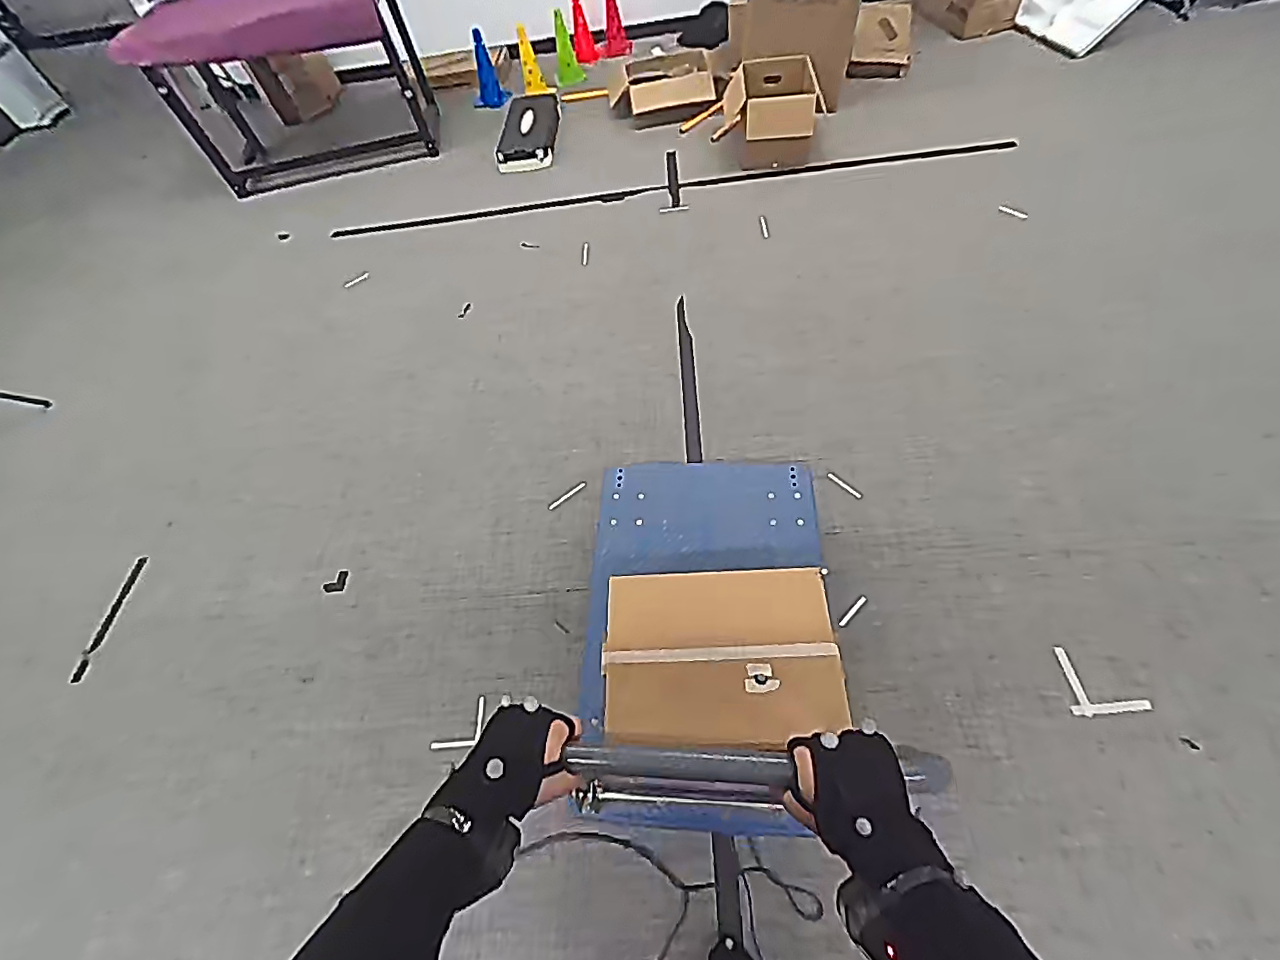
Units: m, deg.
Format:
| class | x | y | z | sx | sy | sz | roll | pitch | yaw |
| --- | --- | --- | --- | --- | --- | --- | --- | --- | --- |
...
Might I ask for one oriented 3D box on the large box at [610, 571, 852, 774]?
| class | x | y | z | sx | sy | sz | roll | pitch | yaw |
| --- | --- | --- | --- | --- | --- | --- | --- | --- | --- |
| large box | 0.157 | 0.398 | 1.089 | 0.408 | 0.320 | 0.320 | -4 | 57 | 4 |
